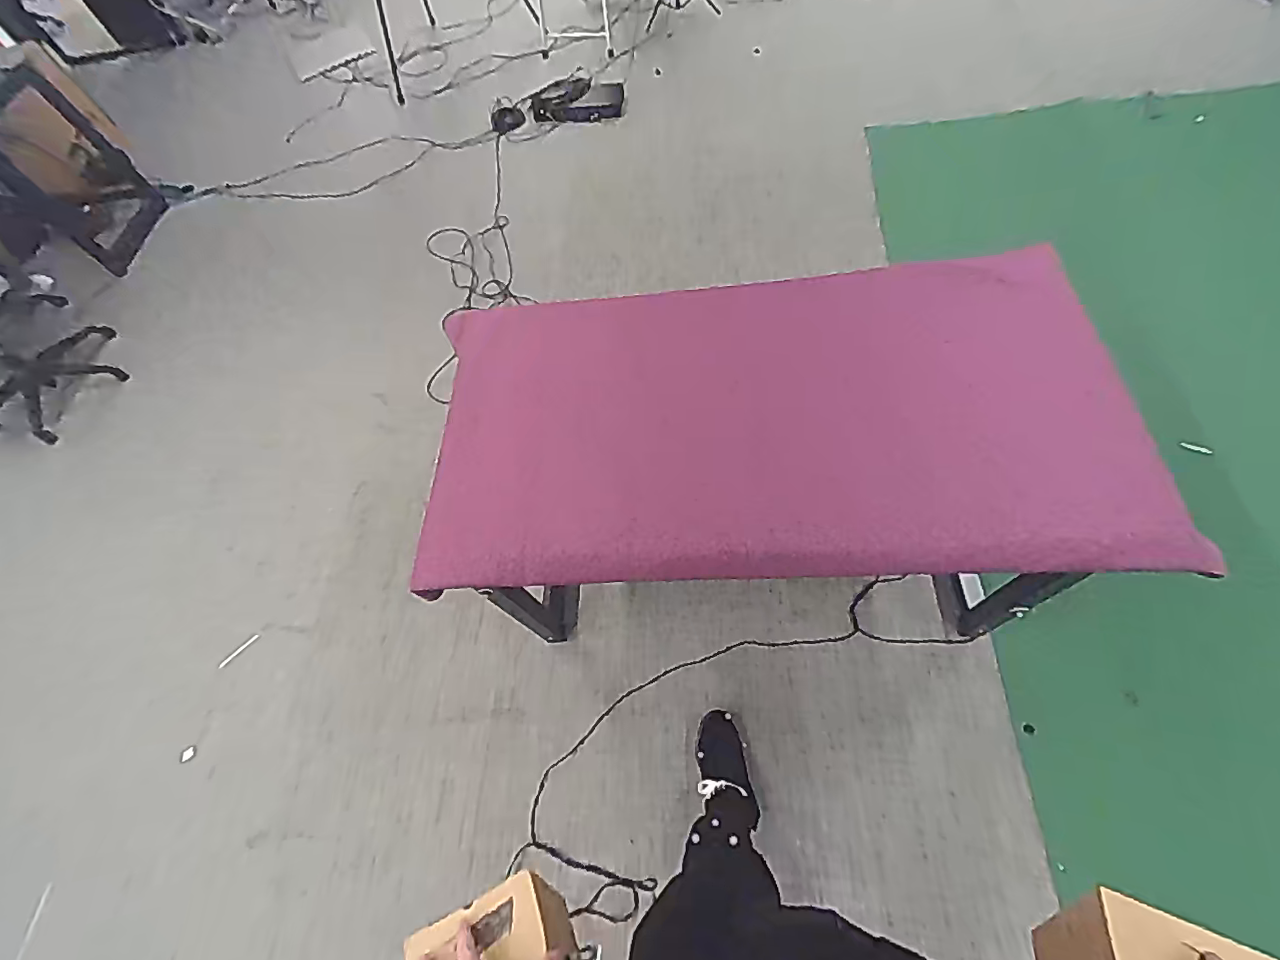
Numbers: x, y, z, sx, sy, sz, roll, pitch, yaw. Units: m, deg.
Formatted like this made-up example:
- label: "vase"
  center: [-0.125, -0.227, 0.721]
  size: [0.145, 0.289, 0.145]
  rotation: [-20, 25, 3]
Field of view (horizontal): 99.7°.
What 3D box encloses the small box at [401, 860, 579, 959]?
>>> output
- label: "small box"
  center: [-0.172, 0.627, 0.671]
  size: [0.168, 0.176, 0.179]
  rotation: [-25, 43, -12]
